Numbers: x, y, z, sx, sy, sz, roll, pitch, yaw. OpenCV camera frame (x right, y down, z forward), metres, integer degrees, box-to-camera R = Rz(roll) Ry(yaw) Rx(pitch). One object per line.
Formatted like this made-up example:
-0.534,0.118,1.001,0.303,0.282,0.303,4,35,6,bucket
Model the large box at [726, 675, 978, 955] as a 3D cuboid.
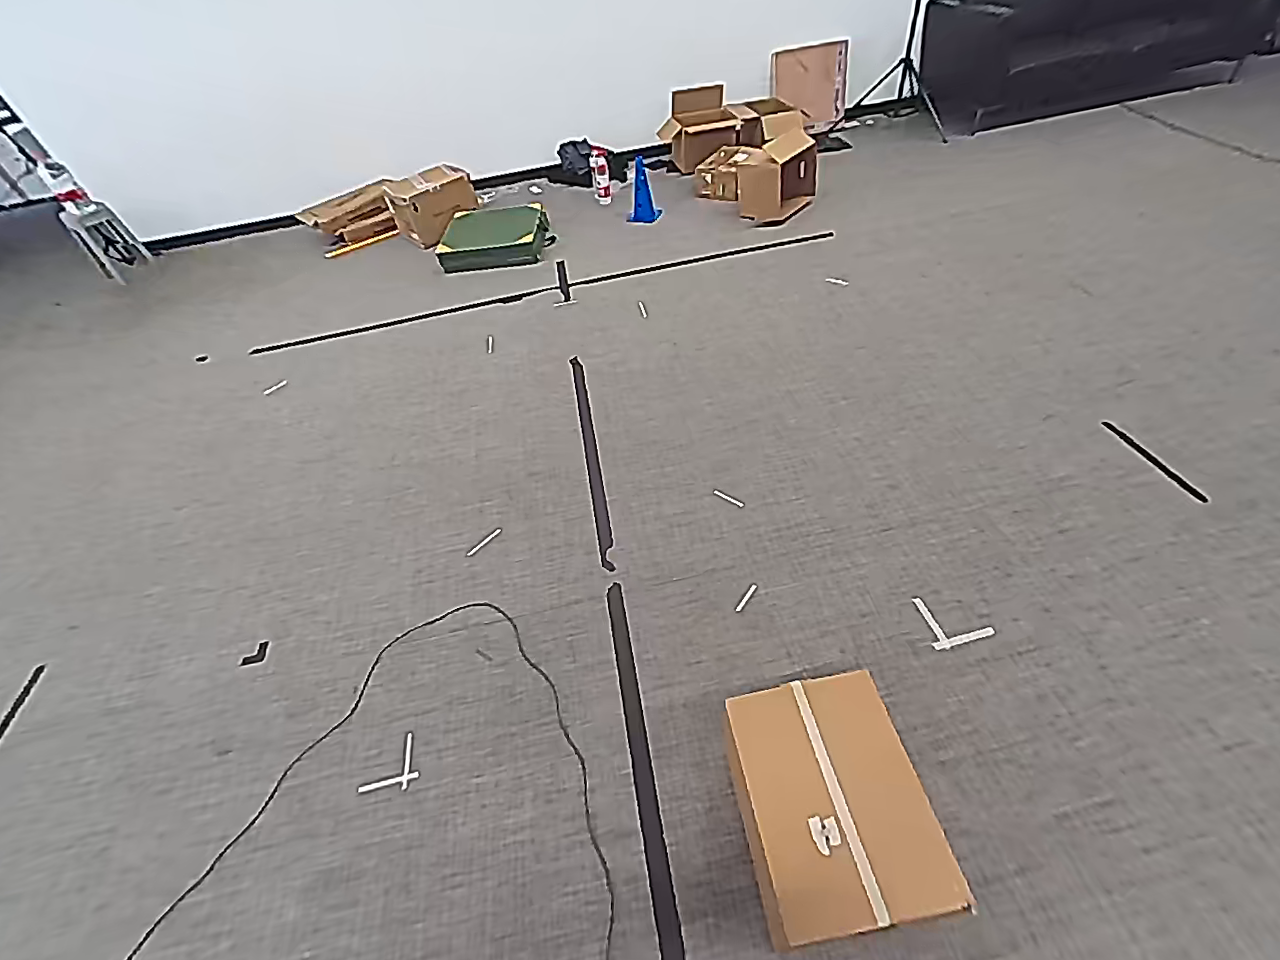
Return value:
0.381,0.681,1.112,0.320,0.320,0.408,-12,47,-1,large box
